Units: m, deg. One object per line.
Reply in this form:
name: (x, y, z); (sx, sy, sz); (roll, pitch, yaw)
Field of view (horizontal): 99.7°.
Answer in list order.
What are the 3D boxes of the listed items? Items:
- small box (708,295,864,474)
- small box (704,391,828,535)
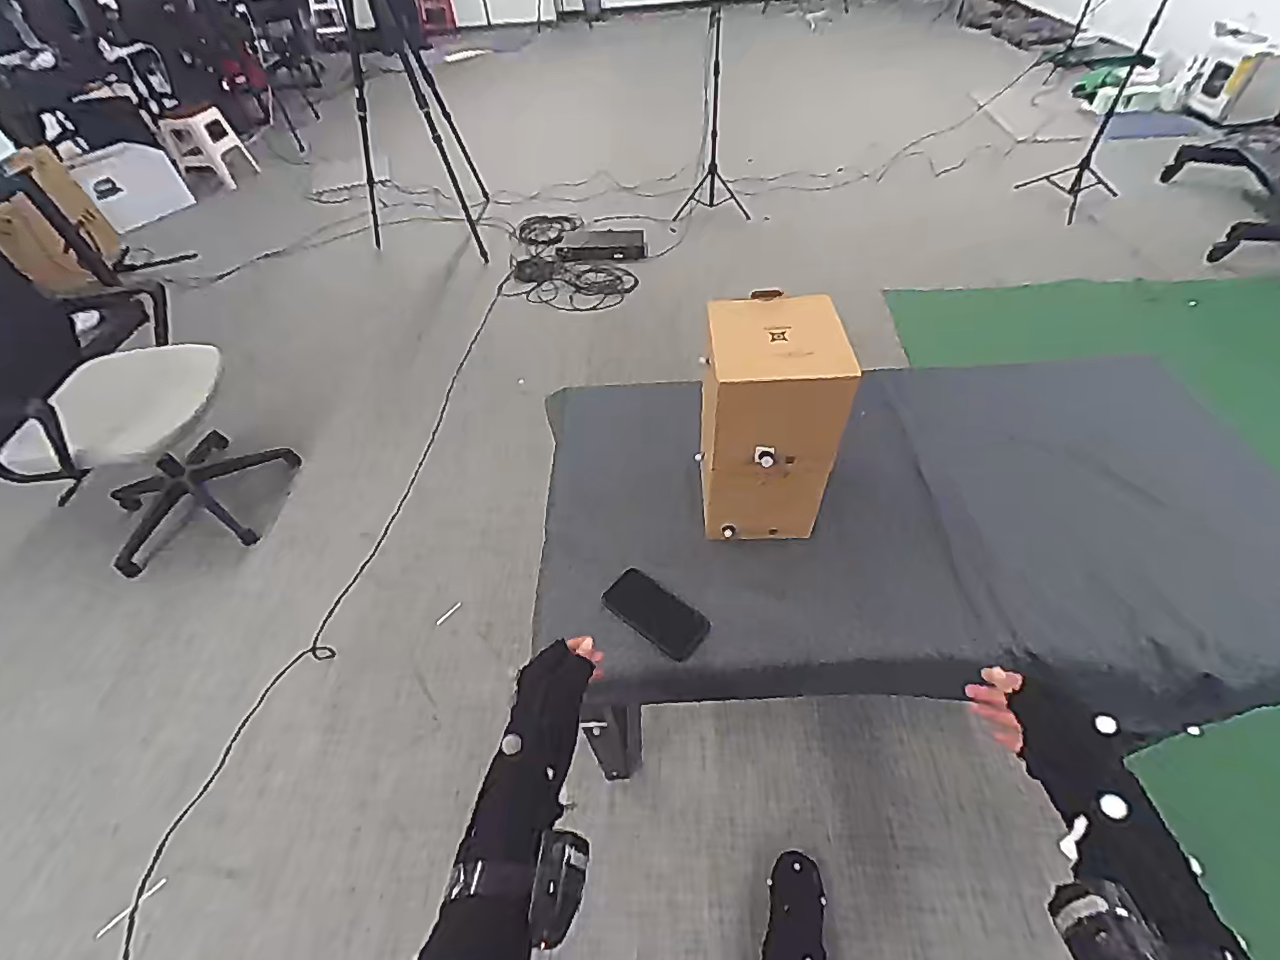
small box: (0.180, -0.127, 0.732); (0.168, 0.176, 0.179); (-2, 50, 4)
small box: (0.188, -0.026, 0.858); (0.168, 0.176, 0.179); (-1, 49, 4)
